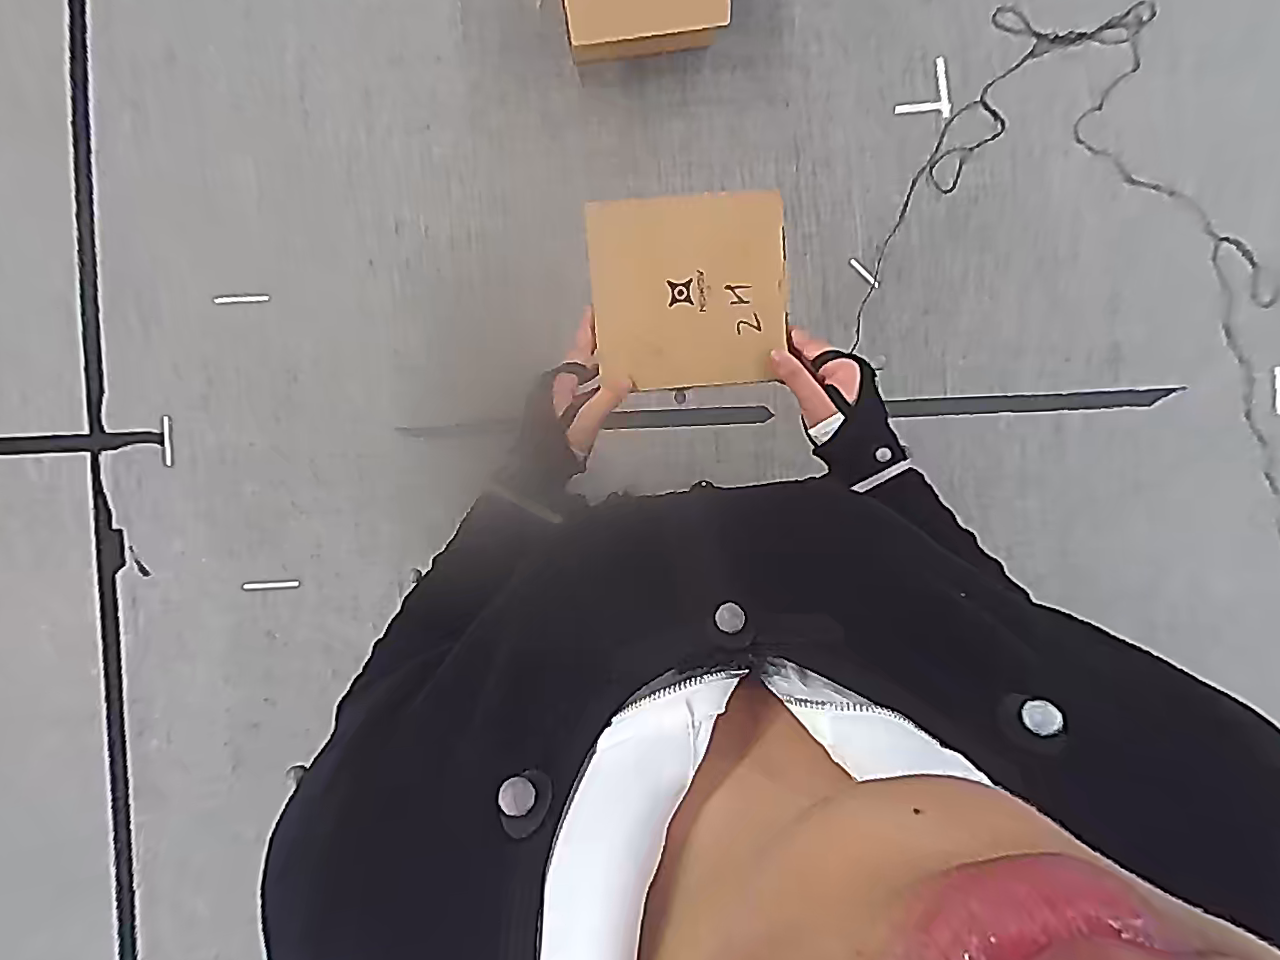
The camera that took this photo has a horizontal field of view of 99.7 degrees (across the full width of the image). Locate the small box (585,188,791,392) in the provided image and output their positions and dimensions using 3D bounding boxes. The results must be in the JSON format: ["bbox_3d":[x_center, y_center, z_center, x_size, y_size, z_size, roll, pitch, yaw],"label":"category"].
[{"bbox_3d":[0.043,-0.177,0.551,0.179,0.176,0.168,-4,101,-1],"label":"small box"}]
